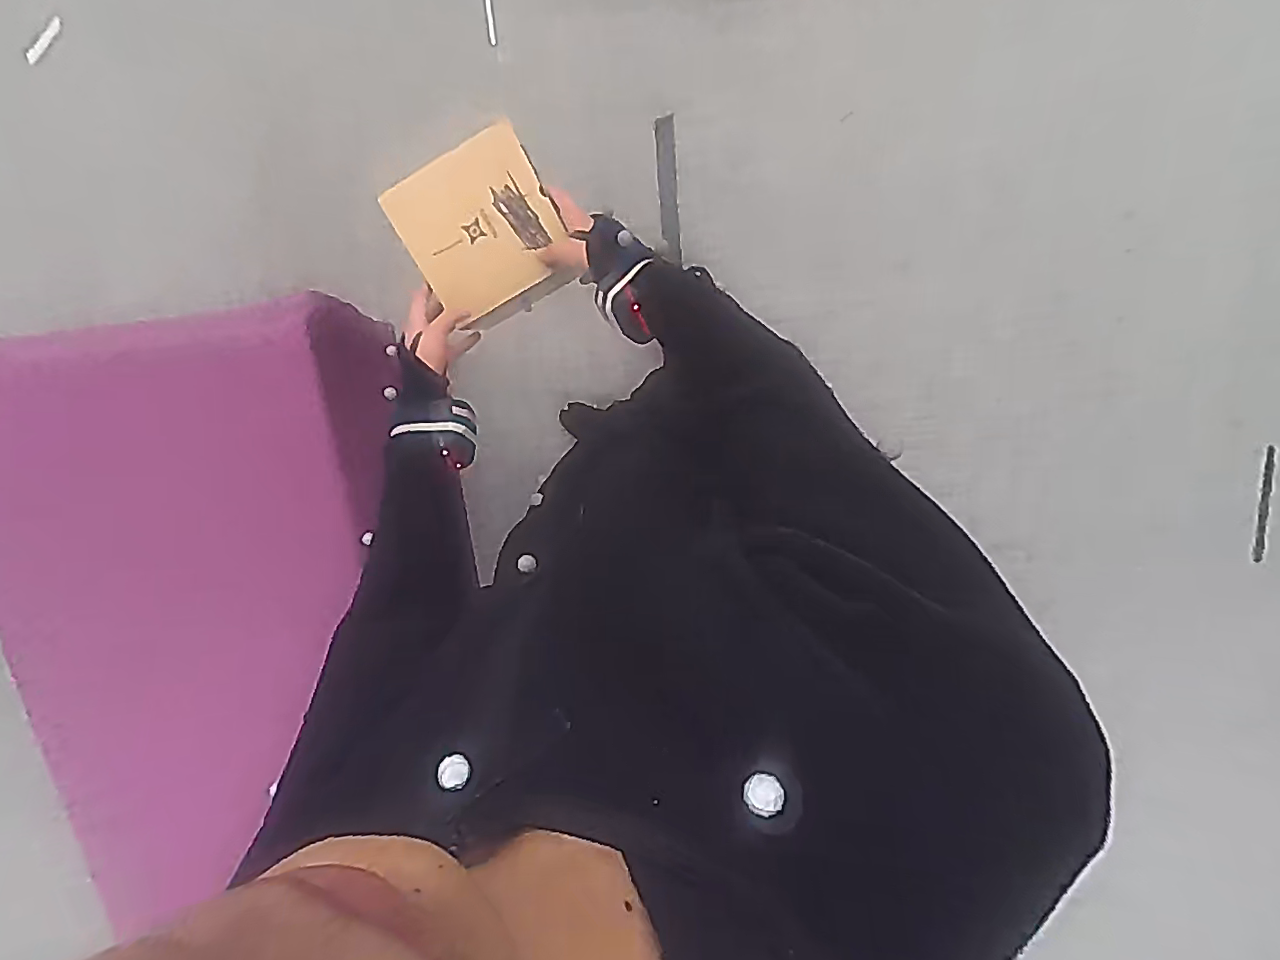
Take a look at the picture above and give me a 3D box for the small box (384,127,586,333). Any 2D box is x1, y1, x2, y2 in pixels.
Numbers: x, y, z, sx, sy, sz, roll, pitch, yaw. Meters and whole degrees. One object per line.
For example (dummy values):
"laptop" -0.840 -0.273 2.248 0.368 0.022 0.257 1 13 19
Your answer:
"small box" -0.182 -0.307 0.701 0.179 0.176 0.168 -28 105 6
